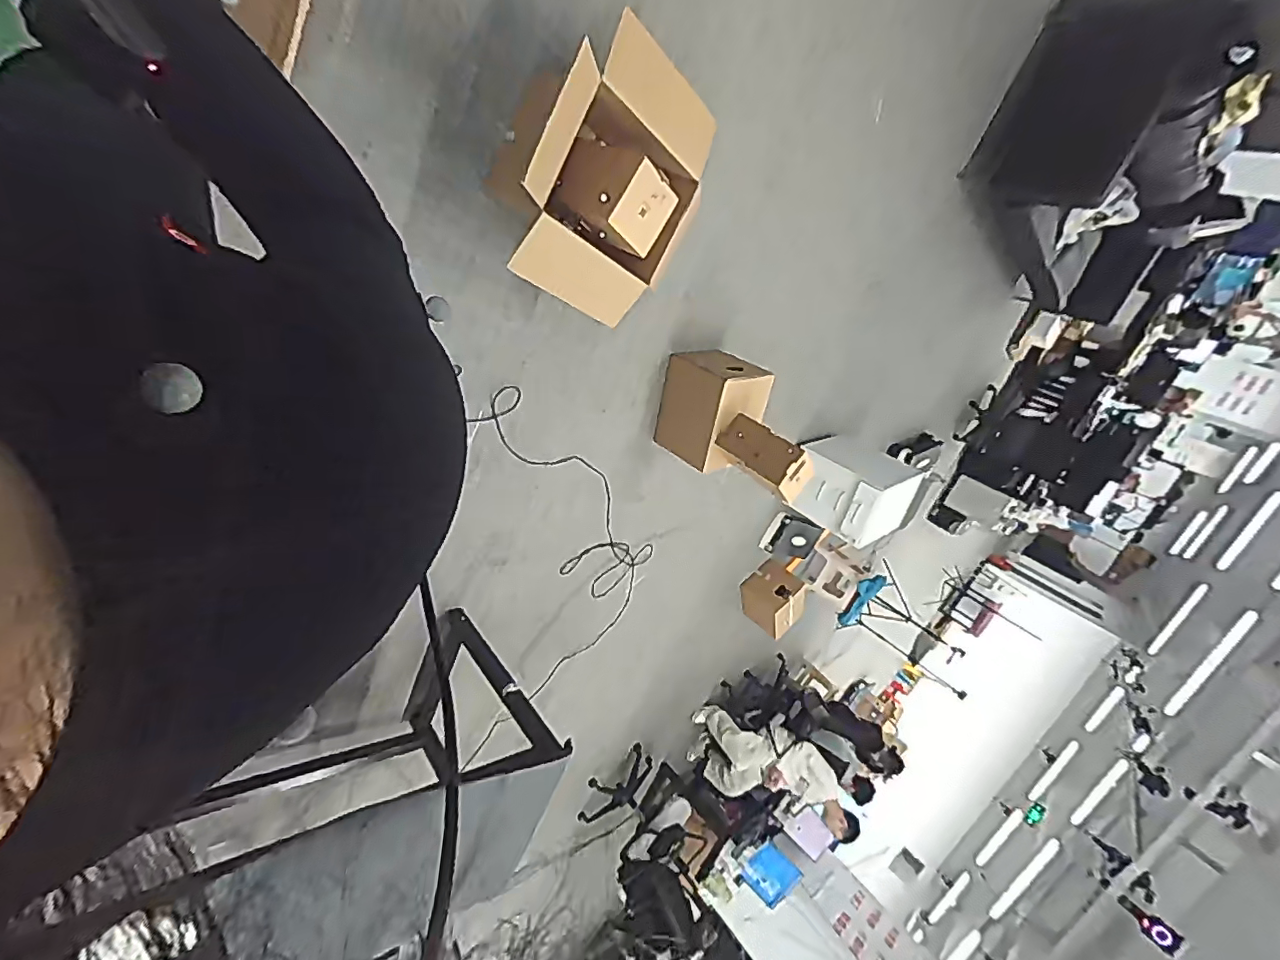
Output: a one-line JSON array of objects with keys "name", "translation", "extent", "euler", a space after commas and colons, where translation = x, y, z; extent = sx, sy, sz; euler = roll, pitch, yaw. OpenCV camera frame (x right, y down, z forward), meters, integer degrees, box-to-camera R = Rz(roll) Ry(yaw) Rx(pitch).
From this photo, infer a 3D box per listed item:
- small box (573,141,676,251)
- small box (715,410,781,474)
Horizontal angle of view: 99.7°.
[{"name": "small box", "translation": [-0.046, -0.730, 1.390], "extent": [0.168, 0.176, 0.179], "euler": [21, 103, -55]}, {"name": "small box", "translation": [0.428, -0.157, 2.154], "extent": [0.168, 0.176, 0.179], "euler": [-51, 141, -2]}]
